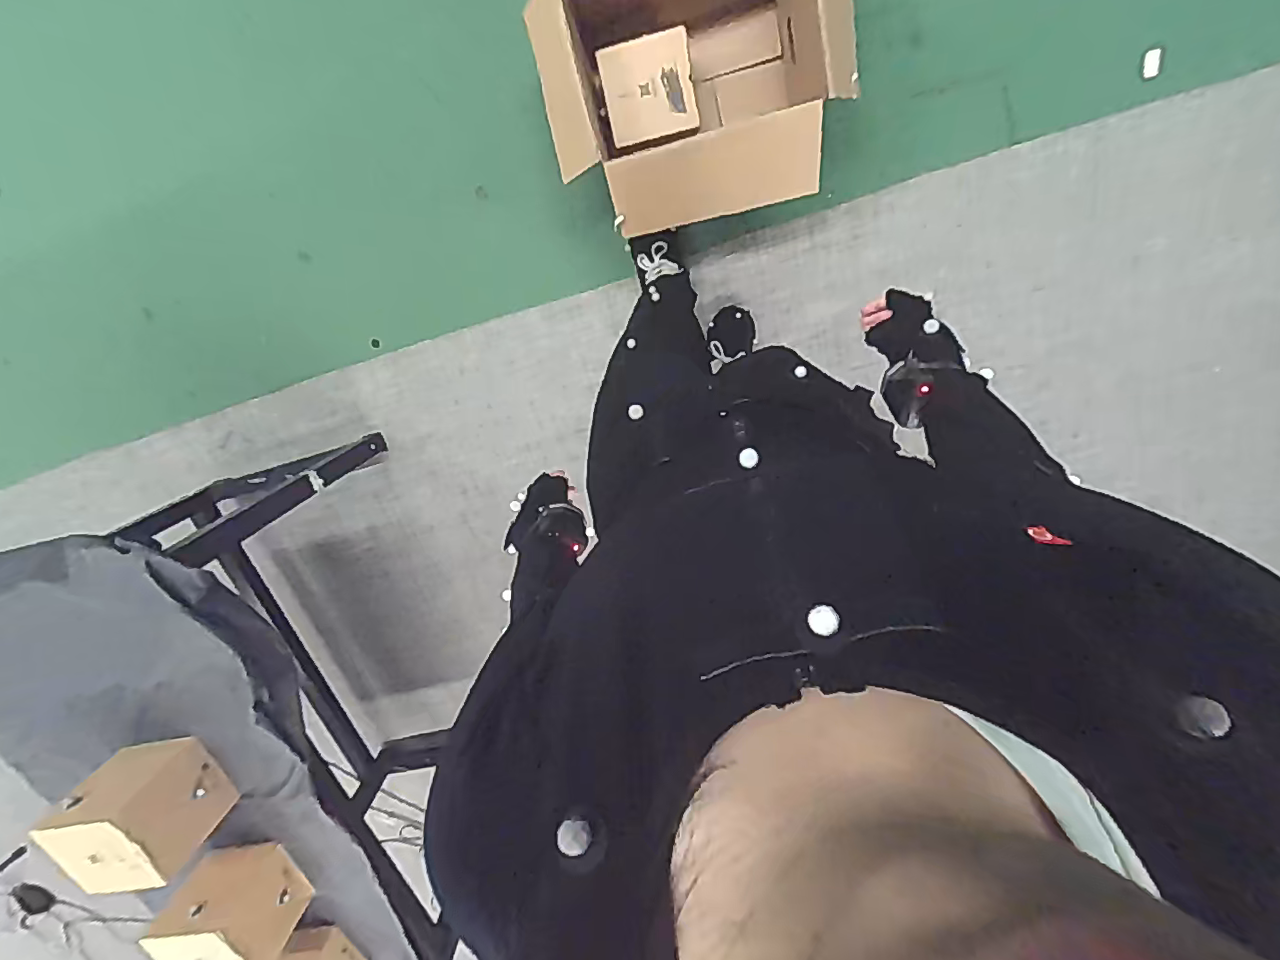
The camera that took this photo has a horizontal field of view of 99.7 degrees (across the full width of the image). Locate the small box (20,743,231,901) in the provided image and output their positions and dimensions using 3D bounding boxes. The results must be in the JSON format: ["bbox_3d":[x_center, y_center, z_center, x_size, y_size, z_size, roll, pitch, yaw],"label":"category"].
[{"bbox_3d":[-0.895,0.600,0.960,0.179,0.176,0.168,-13,111,8],"label":"small box"}]

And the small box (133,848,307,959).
[{"bbox_3d":[-0.812,0.867,1.065,0.179,0.176,0.168,-13,110,8],"label":"small box"}]
